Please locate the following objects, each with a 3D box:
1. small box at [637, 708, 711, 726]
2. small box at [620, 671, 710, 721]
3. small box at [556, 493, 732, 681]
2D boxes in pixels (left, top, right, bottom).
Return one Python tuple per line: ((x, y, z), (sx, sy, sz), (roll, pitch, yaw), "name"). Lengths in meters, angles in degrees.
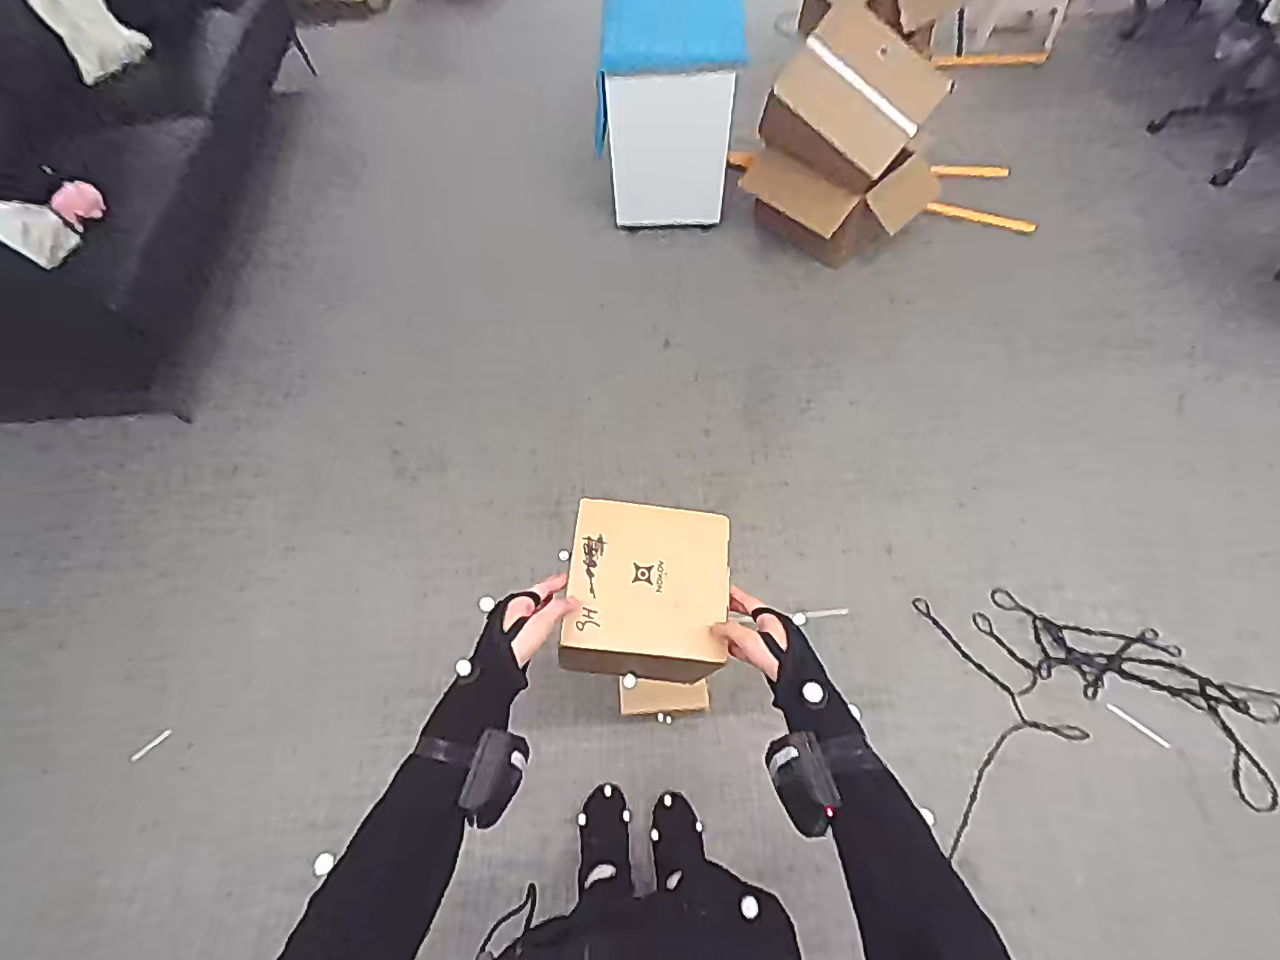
((0.069, 0.490, 1.292), (0.179, 0.176, 0.168), (-5, 63, 0), "small box")
((0.050, 0.414, 1.147), (0.179, 0.176, 0.168), (-5, 63, 1), "small box")
((0.000, 0.136, 0.643), (0.179, 0.176, 0.168), (9, 60, -5), "small box")
